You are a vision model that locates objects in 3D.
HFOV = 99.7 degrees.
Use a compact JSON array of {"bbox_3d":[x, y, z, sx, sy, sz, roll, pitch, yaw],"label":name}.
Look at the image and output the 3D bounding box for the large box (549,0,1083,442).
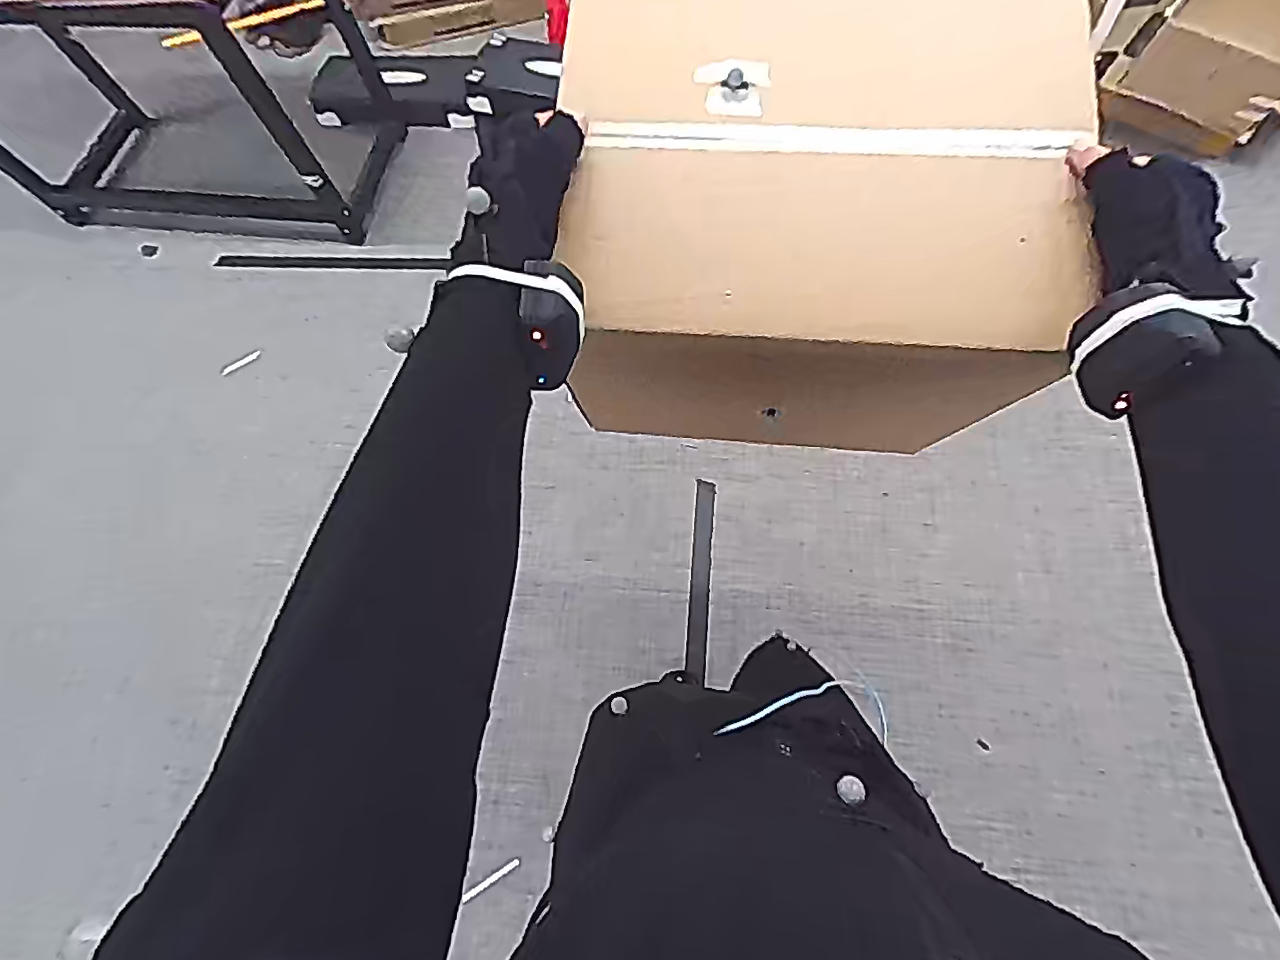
[{"bbox_3d":[0.150,-0.230,0.577,0.408,0.320,0.320,5,80,6],"label":"large box"}]
